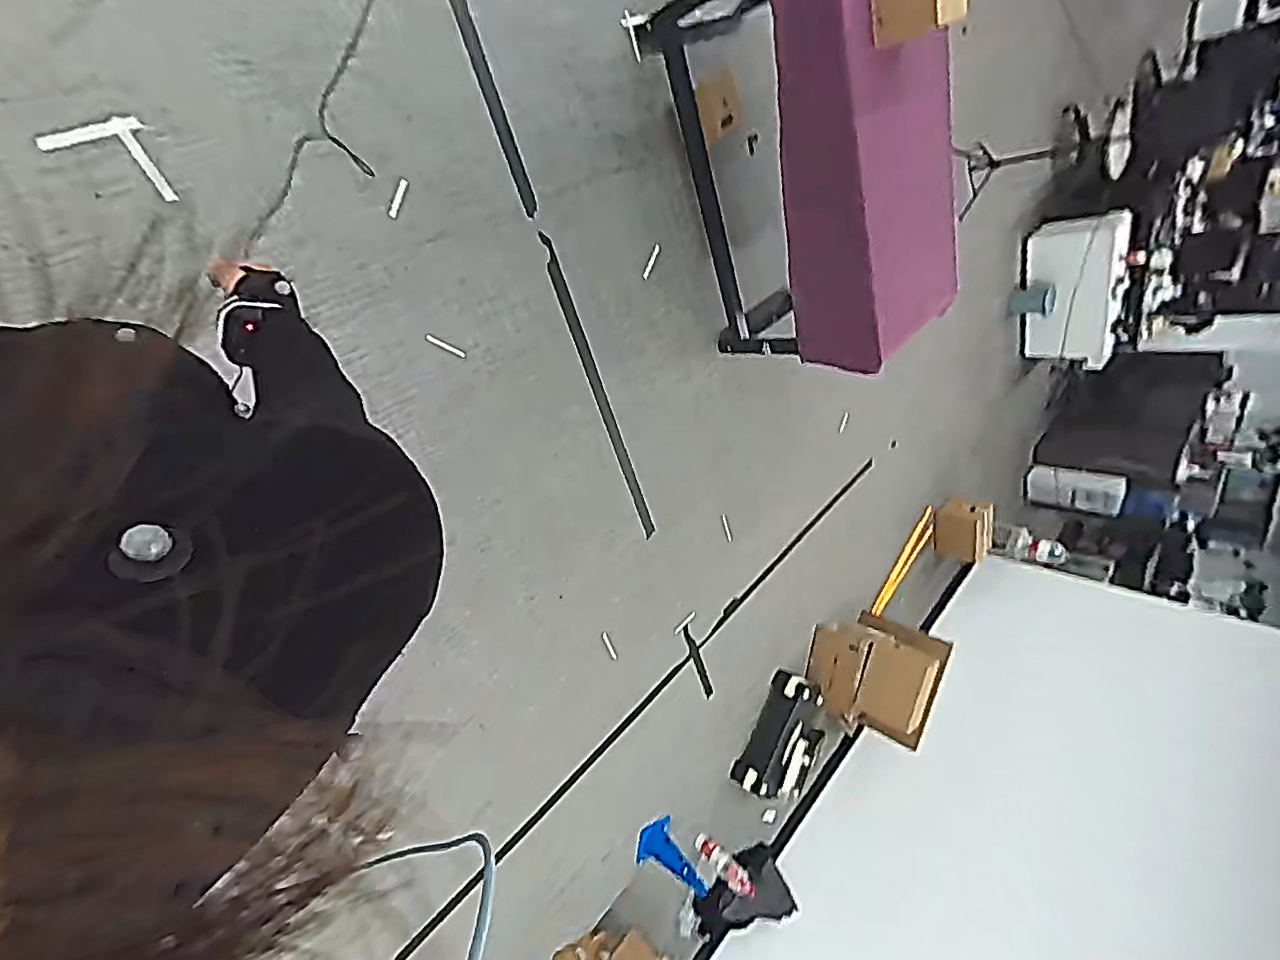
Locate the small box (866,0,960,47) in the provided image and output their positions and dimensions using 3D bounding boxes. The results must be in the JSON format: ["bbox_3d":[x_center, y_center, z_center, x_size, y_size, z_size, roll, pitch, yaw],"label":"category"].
[{"bbox_3d":[0.710,-1.271,1.408,0.179,0.176,0.168,-40,124,-27],"label":"small box"}]
